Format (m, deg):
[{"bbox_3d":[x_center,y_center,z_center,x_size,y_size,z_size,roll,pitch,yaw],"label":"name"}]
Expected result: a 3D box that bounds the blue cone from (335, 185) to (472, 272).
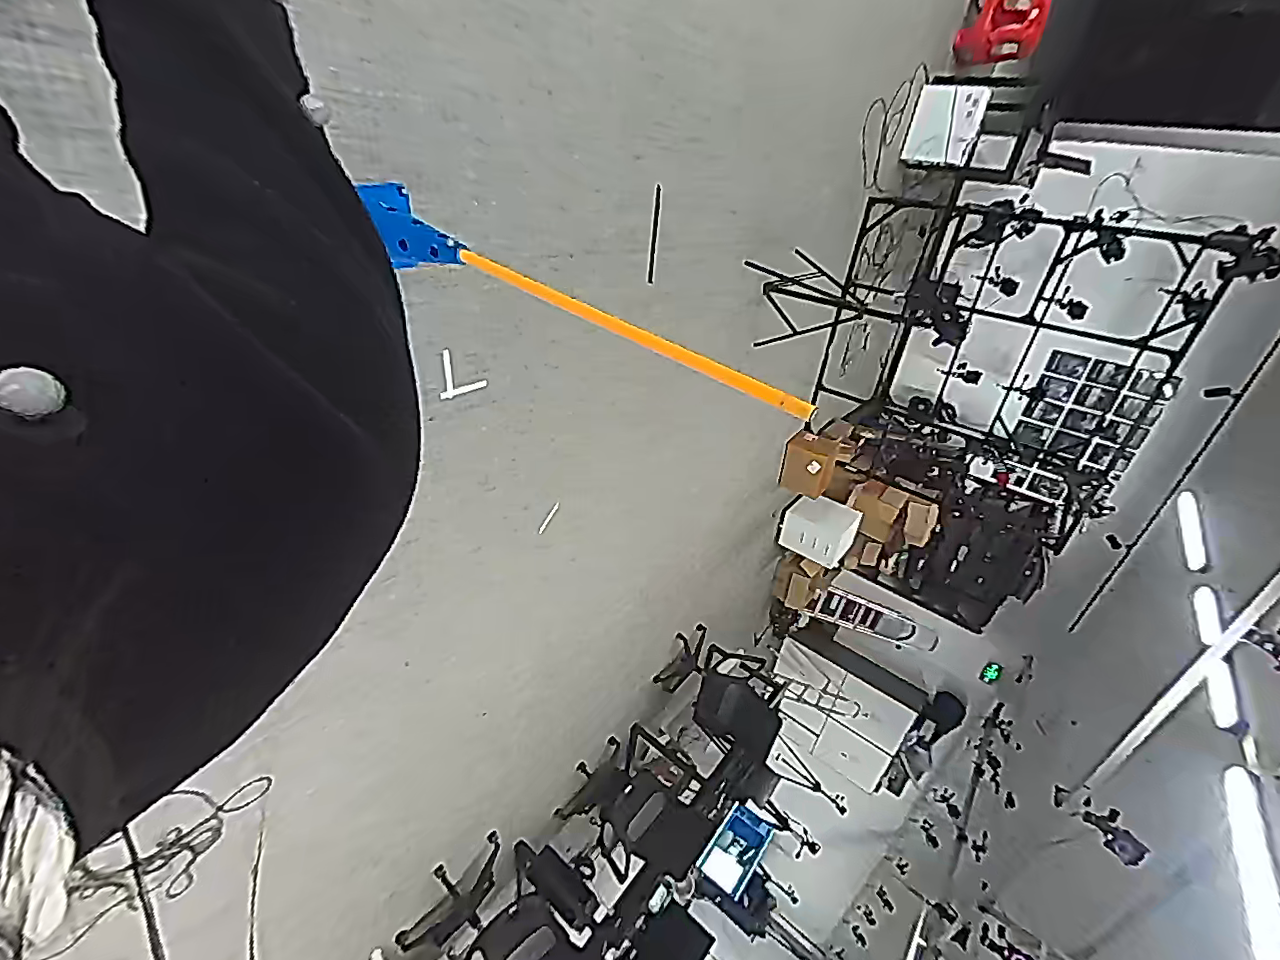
[{"bbox_3d":[-0.521,-0.567,1.267,0.193,0.380,0.192,-32,137,-42],"label":"blue cone"}]
